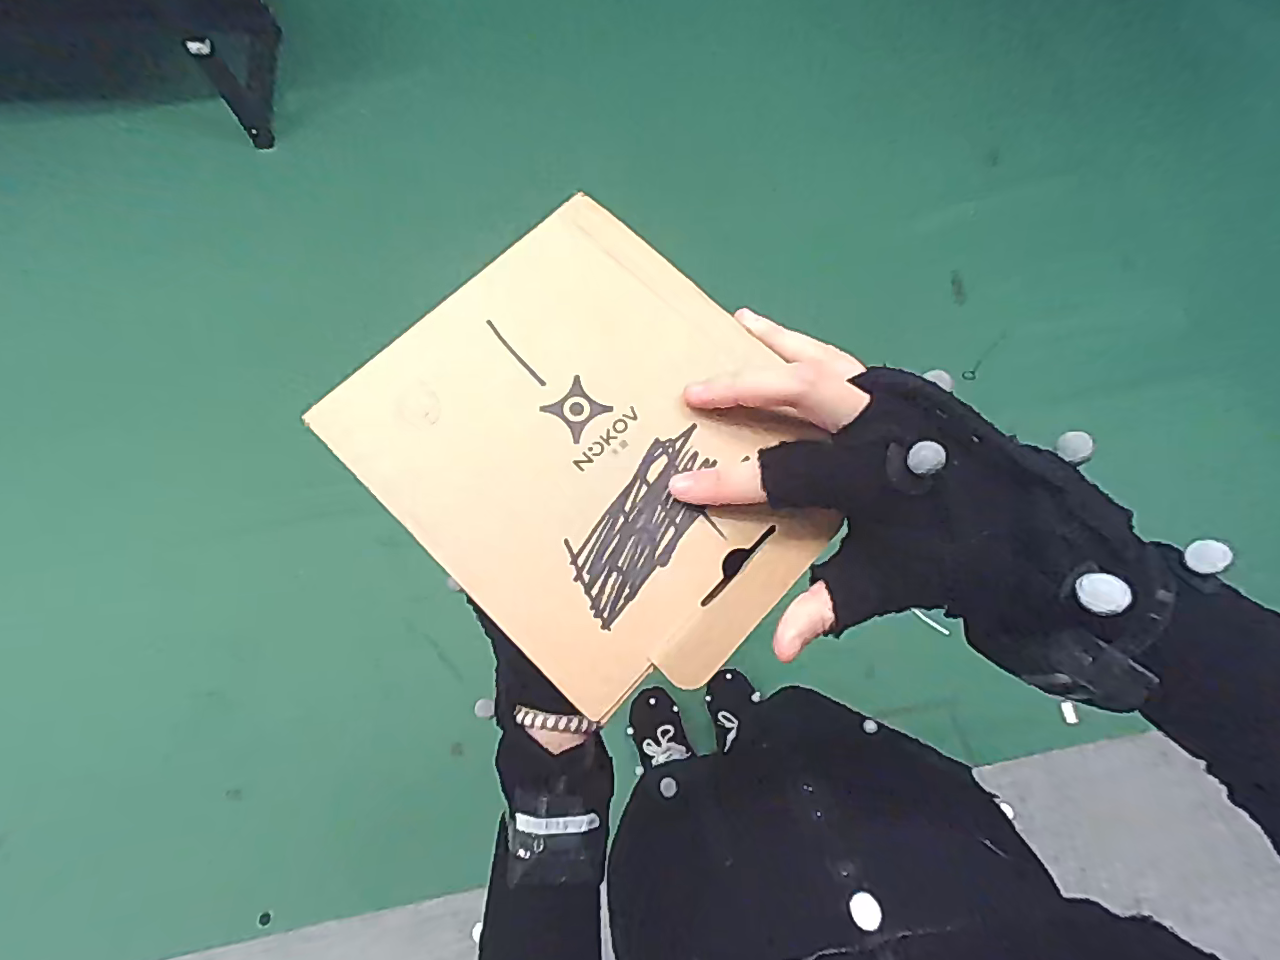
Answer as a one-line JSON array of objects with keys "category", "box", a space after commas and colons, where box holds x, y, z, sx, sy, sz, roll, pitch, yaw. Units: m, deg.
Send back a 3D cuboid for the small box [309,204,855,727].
[{"category": "small box", "box": [-0.025, 0.000, 0.307, 0.179, 0.176, 0.168, 43, 77, 9]}]
